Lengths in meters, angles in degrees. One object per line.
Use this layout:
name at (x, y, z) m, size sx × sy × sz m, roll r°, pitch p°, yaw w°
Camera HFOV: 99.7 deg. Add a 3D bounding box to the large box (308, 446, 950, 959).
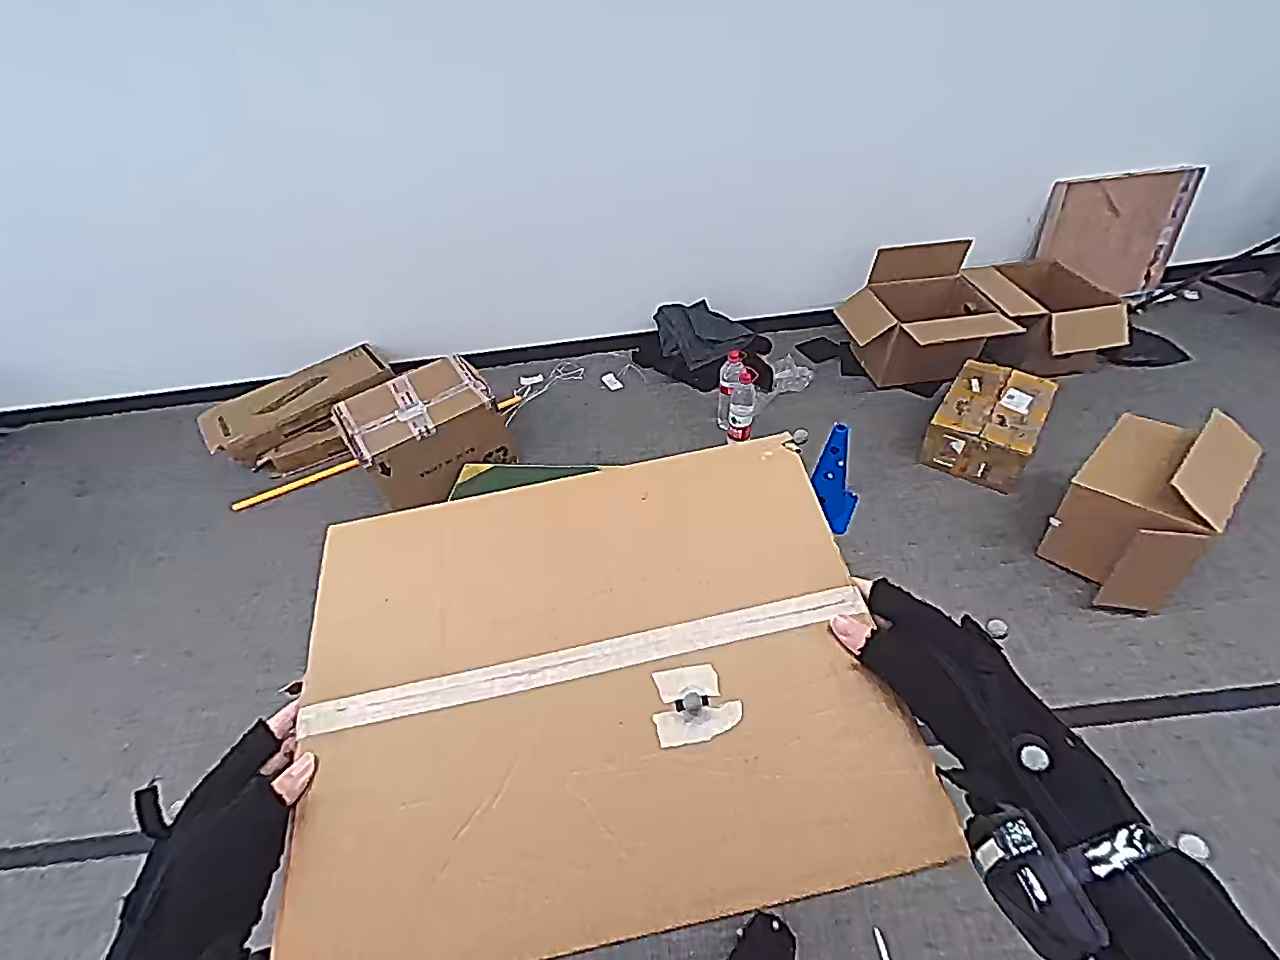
large box at (-0.021, 0.214, 0.525) m, size 0.408 × 0.320 × 0.320 m, roll -12°, pitch 58°, yaw -3°
